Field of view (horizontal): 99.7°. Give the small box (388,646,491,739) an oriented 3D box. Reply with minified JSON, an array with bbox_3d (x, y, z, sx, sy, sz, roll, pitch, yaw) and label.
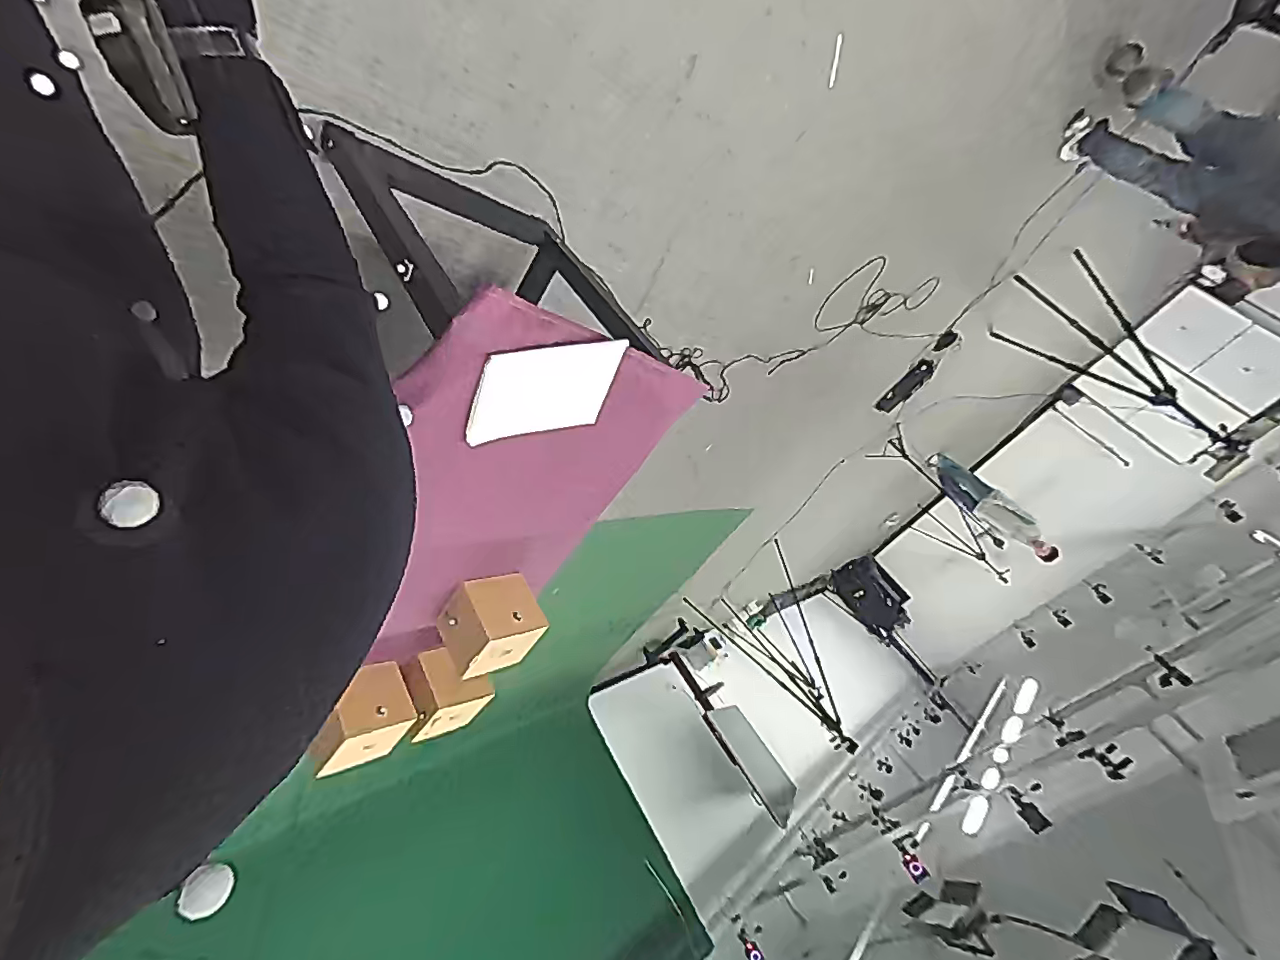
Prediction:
[{"bbox_3d":[-0.550,0.565,1.478,0.168,0.176,0.179,-49,152,23],"label":"small box"}]

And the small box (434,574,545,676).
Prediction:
[{"bbox_3d":[-0.375,0.349,1.335,0.179,0.176,0.168,1,135,-50],"label":"small box"}]
